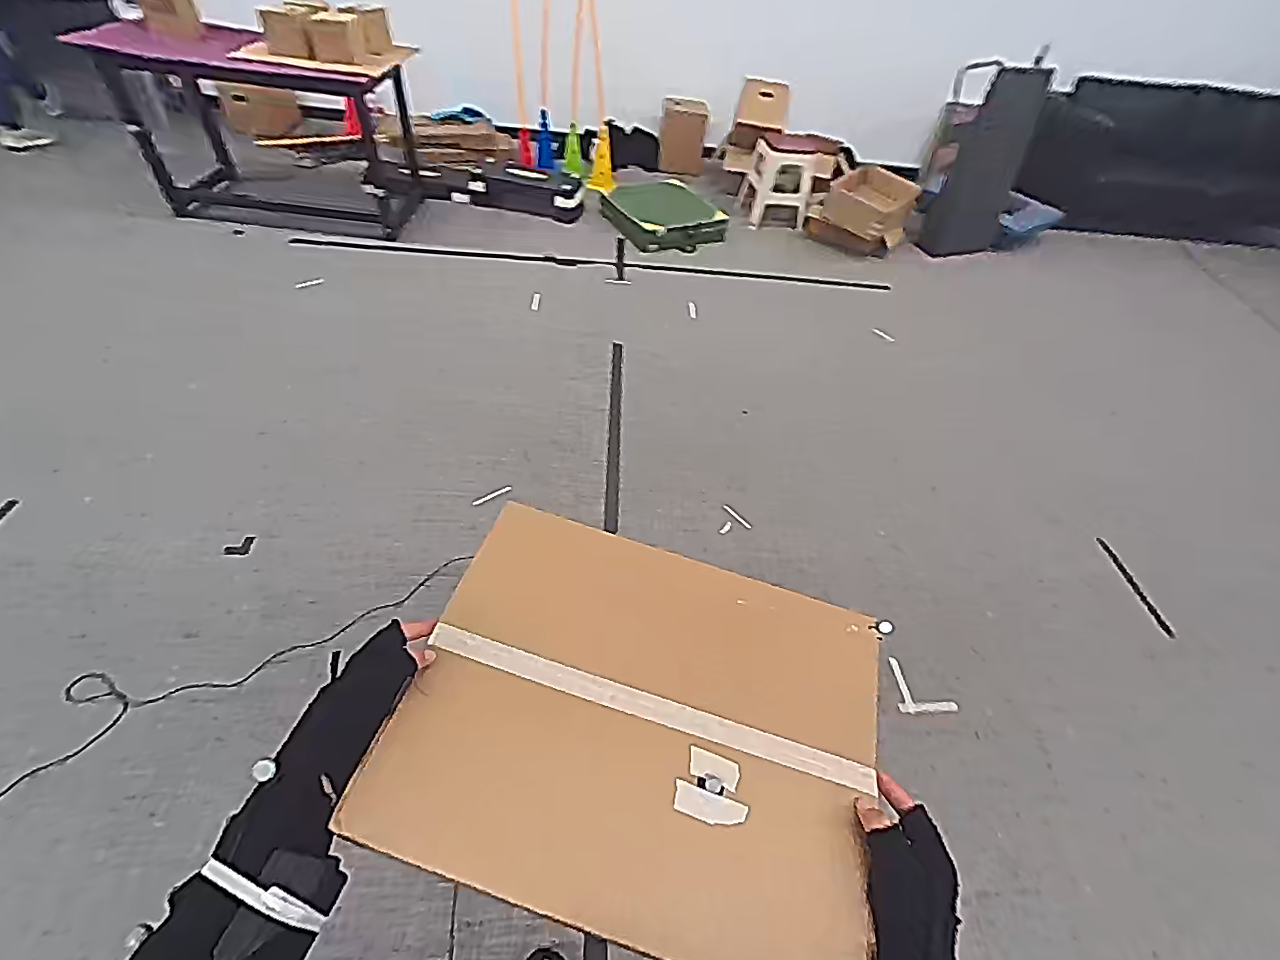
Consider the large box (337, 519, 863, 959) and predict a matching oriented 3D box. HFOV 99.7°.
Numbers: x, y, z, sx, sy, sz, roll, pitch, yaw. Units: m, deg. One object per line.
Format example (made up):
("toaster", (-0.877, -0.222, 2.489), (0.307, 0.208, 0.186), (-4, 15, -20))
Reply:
("large box", (-0.021, 0.298, 0.595), (0.408, 0.320, 0.320), (17, 53, 3))
